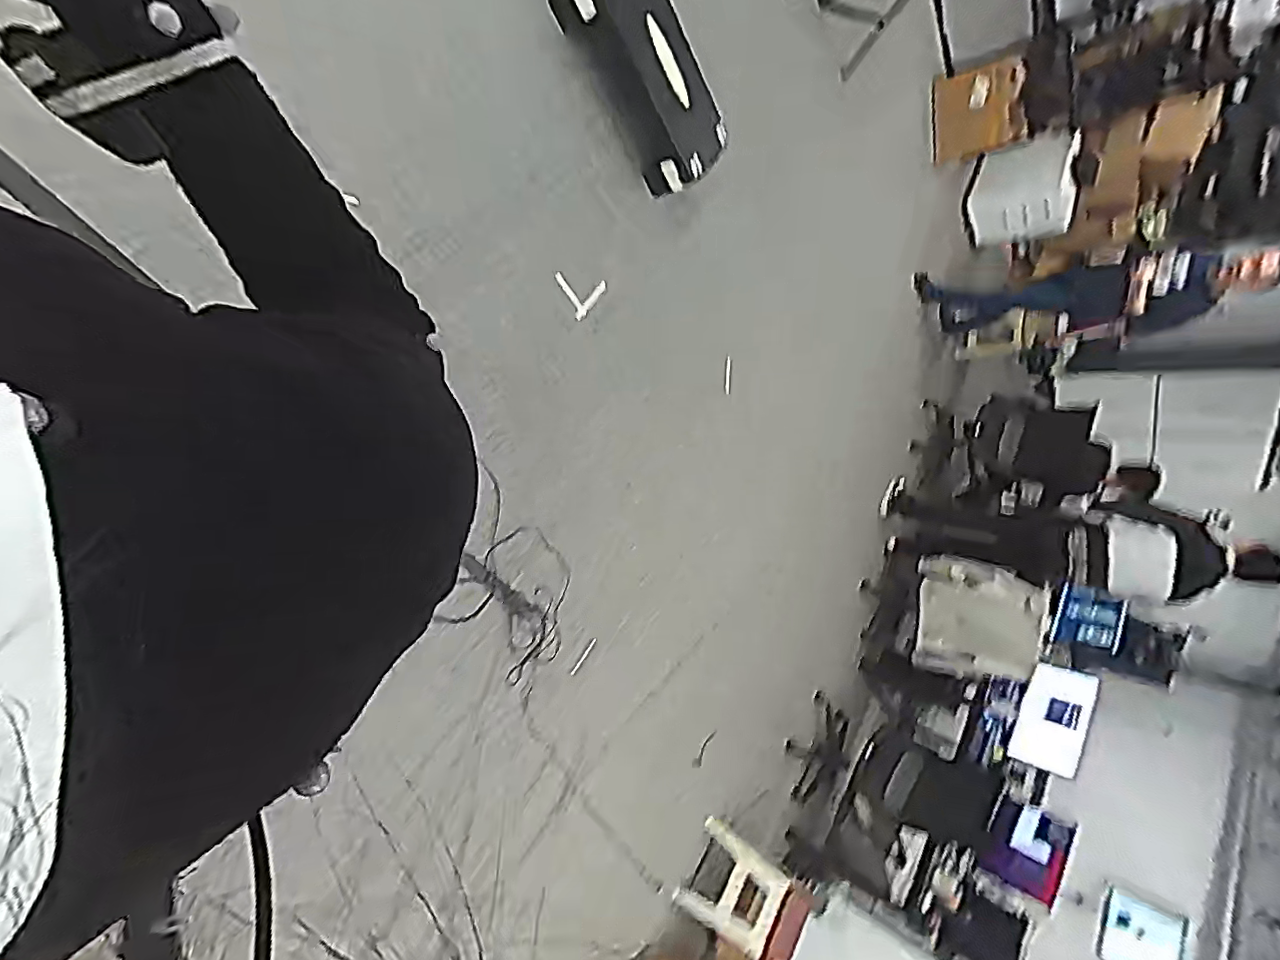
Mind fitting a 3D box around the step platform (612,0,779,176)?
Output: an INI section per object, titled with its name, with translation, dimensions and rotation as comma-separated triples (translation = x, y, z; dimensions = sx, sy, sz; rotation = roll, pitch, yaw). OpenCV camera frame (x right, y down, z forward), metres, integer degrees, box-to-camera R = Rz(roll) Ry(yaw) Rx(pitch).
[step platform]
translation = 0.158, -1.294, 1.604
dimensions = 0.684, 0.204, 0.286
rotation = 50, 63, -37
